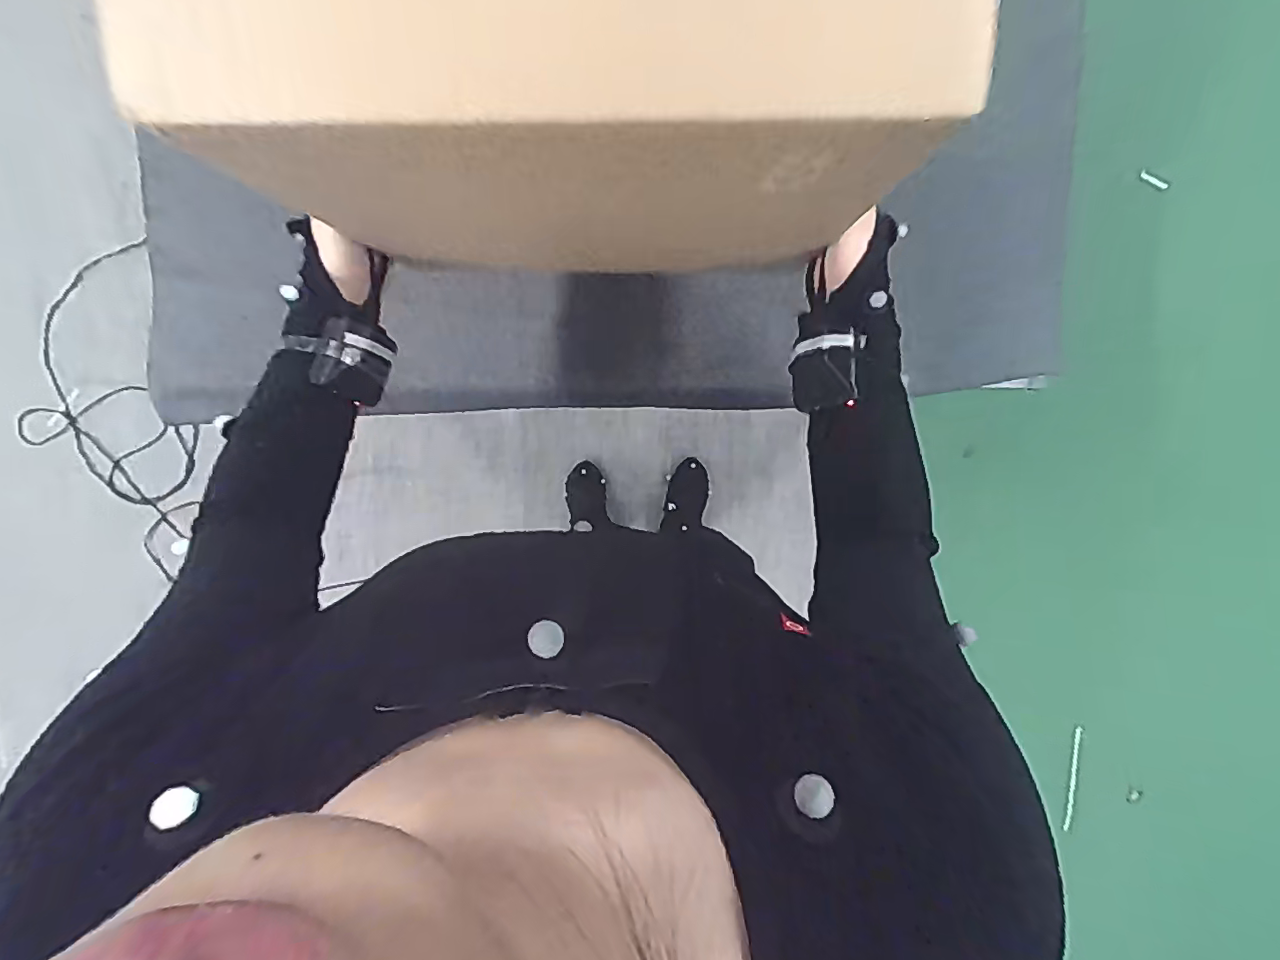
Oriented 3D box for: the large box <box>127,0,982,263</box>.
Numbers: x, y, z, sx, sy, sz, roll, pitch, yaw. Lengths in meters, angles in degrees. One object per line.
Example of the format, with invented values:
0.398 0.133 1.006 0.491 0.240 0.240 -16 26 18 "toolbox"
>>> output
-0.041 -0.351 0.380 0.408 0.320 0.320 0 101 1 "large box"
